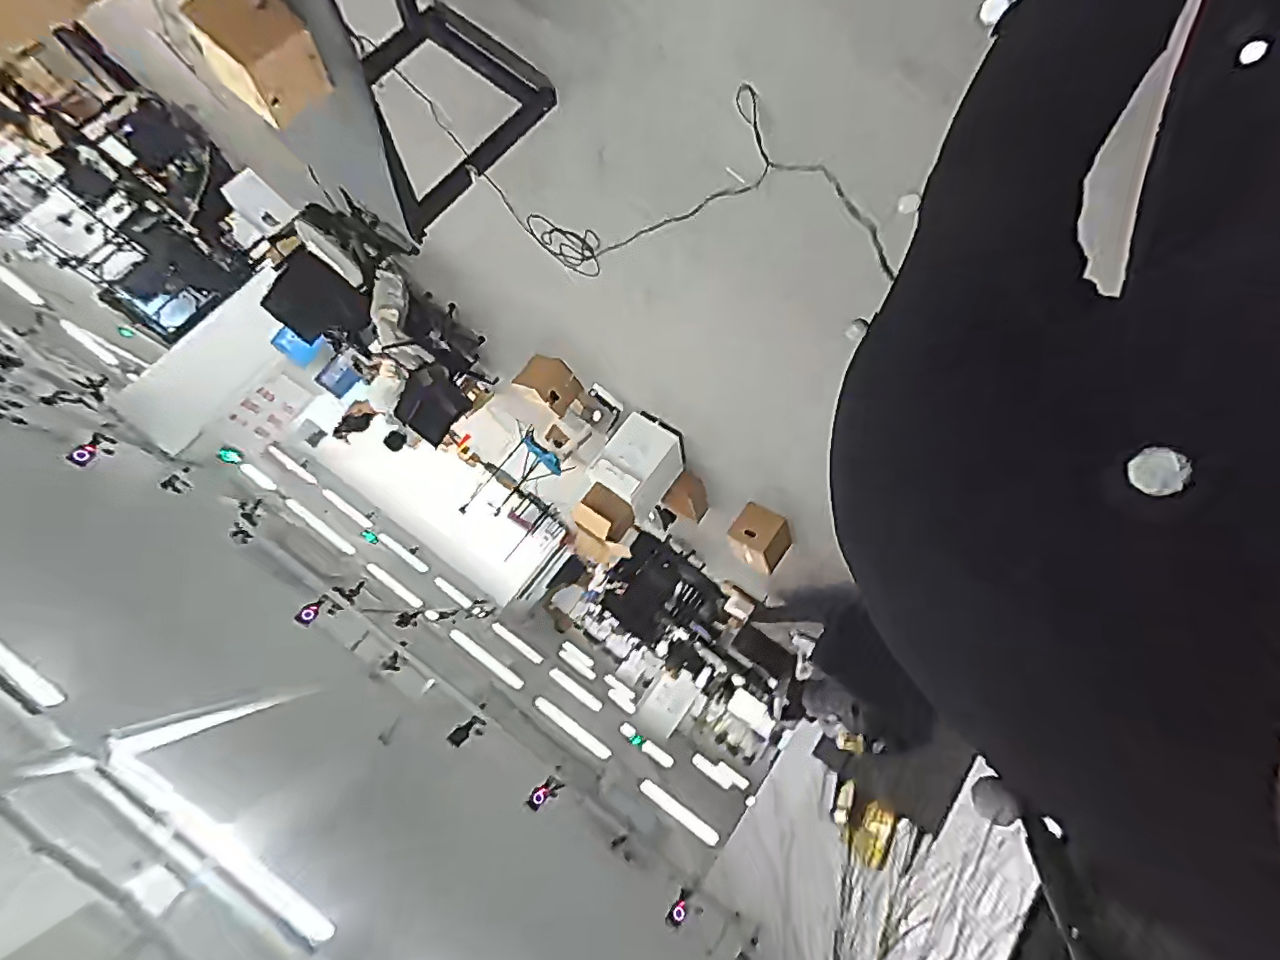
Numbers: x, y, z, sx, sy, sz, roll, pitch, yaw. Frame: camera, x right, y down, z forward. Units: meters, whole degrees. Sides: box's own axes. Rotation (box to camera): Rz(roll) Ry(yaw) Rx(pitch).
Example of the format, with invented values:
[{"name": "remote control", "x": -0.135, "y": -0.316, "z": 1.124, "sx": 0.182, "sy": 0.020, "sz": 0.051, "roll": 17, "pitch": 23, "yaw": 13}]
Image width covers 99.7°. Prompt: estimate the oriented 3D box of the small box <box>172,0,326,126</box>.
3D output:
[{"name": "small box", "x": -0.830, "y": -0.932, "z": 1.169, "sx": 0.179, "sy": 0.176, "sz": 0.168, "roll": 42, "pitch": 166, "yaw": -5}]
